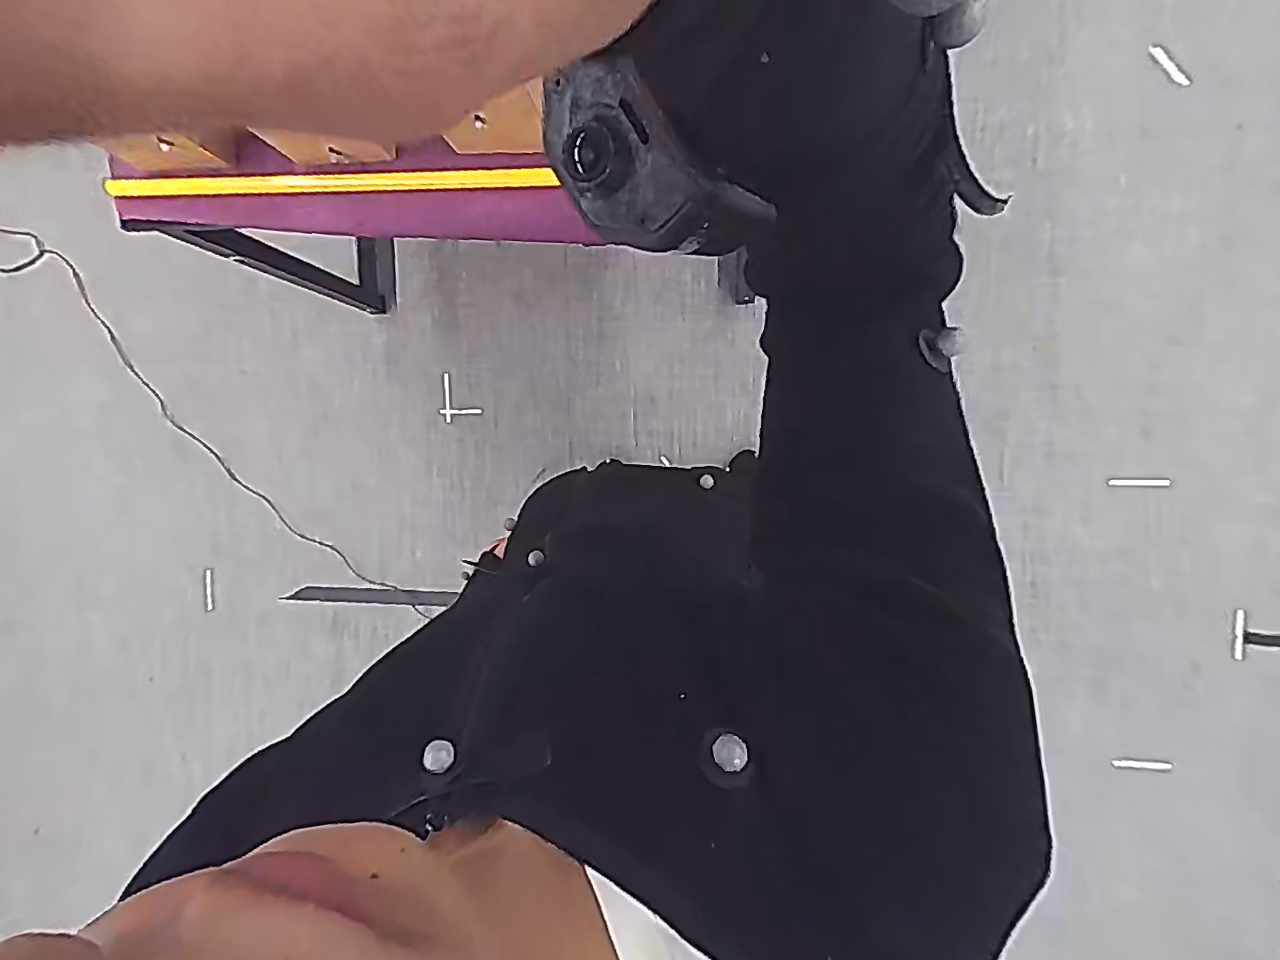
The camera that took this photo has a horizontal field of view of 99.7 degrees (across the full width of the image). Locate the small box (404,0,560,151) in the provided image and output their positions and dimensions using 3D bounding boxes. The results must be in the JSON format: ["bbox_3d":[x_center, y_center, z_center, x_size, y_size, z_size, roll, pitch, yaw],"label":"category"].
[{"bbox_3d":[-0.224,-0.620,0.807,0.179,0.176,0.168,4,93,8],"label":"small box"}]

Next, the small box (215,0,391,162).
[{"bbox_3d":[-0.508,-0.622,0.841,0.179,0.176,0.168,0,94,6],"label":"small box"}]

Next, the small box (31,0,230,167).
[{"bbox_3d":[-0.801,-0.631,0.872,0.179,0.176,0.168,0,93,4],"label":"small box"}]
